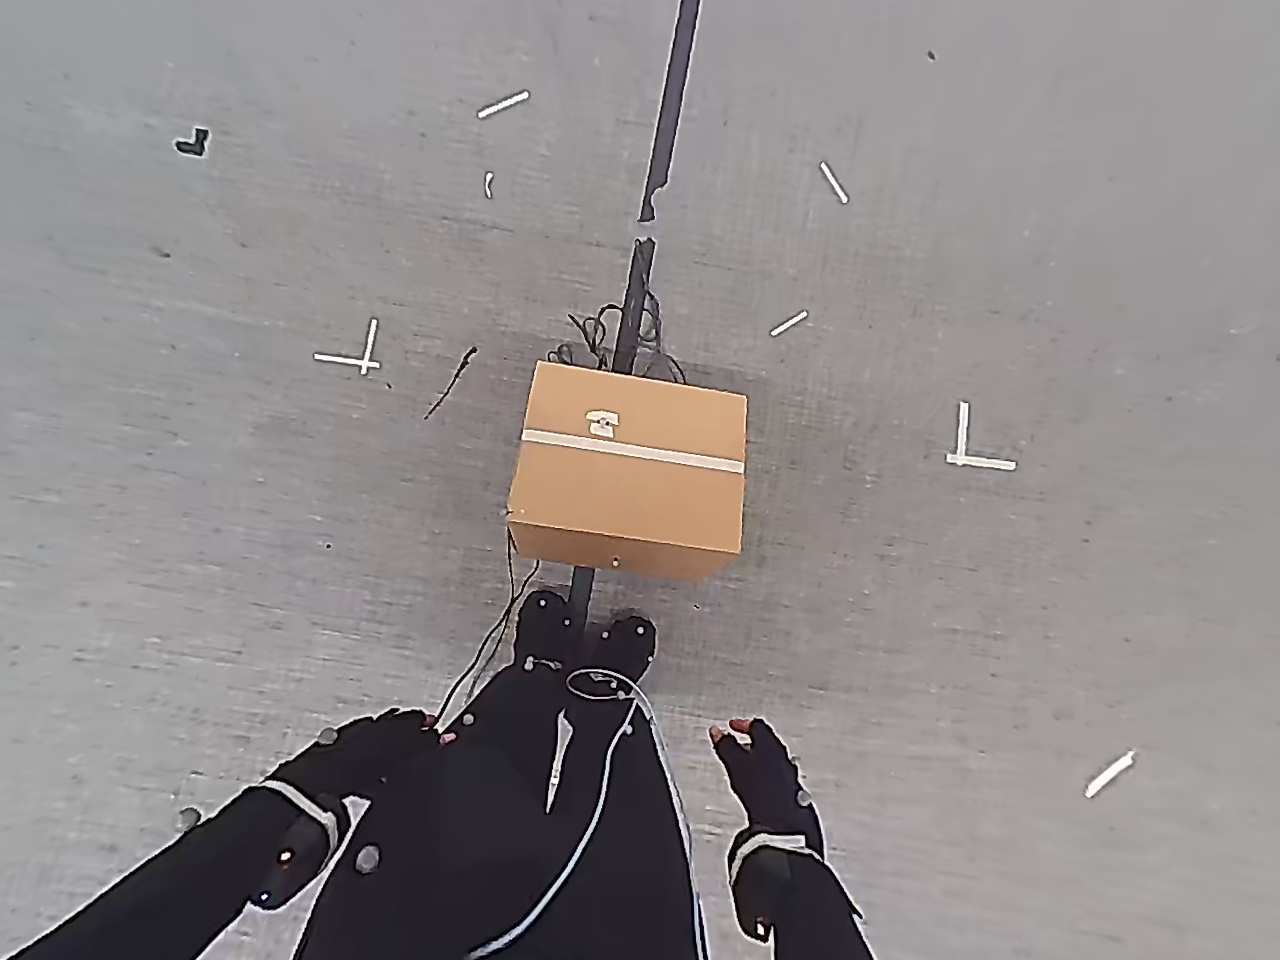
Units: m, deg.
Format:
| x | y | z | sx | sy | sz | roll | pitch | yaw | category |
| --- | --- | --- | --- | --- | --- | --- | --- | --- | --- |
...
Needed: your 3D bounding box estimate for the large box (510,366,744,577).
| x | y | z | sx | sy | sz | roll | pitch | yaw | category |
| --- | --- | --- | --- | --- | --- | --- | --- | --- | --- |
| -0.024 | 0.003 | 1.117 | 0.408 | 0.320 | 0.320 | 9 | 68 | -4 | large box |
